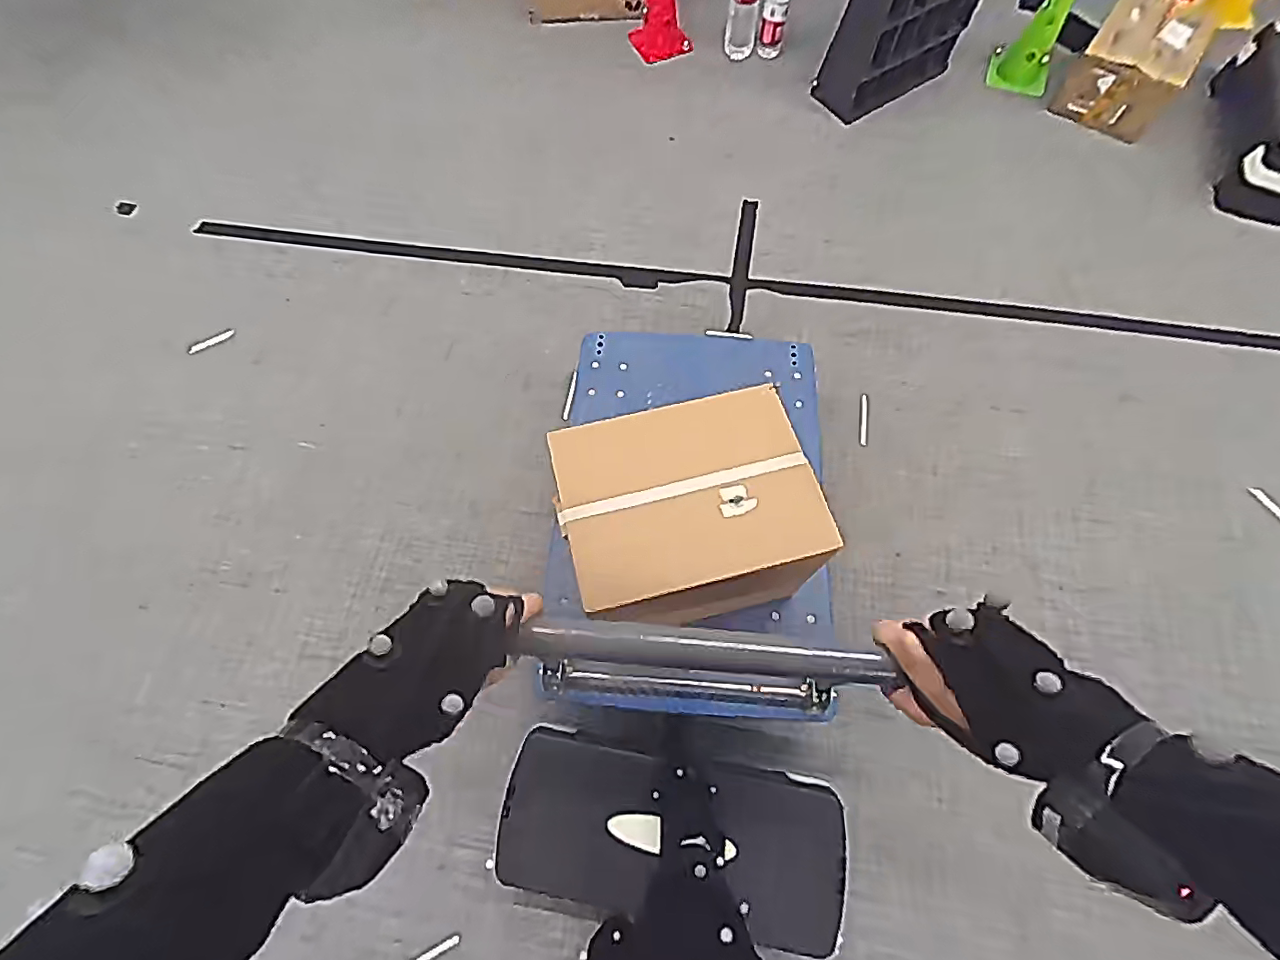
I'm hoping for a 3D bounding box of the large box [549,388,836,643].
[{"bbox_3d":[0.074,0.079,1.005,0.408,0.320,0.320,-13,67,-7],"label":"large box"}]
